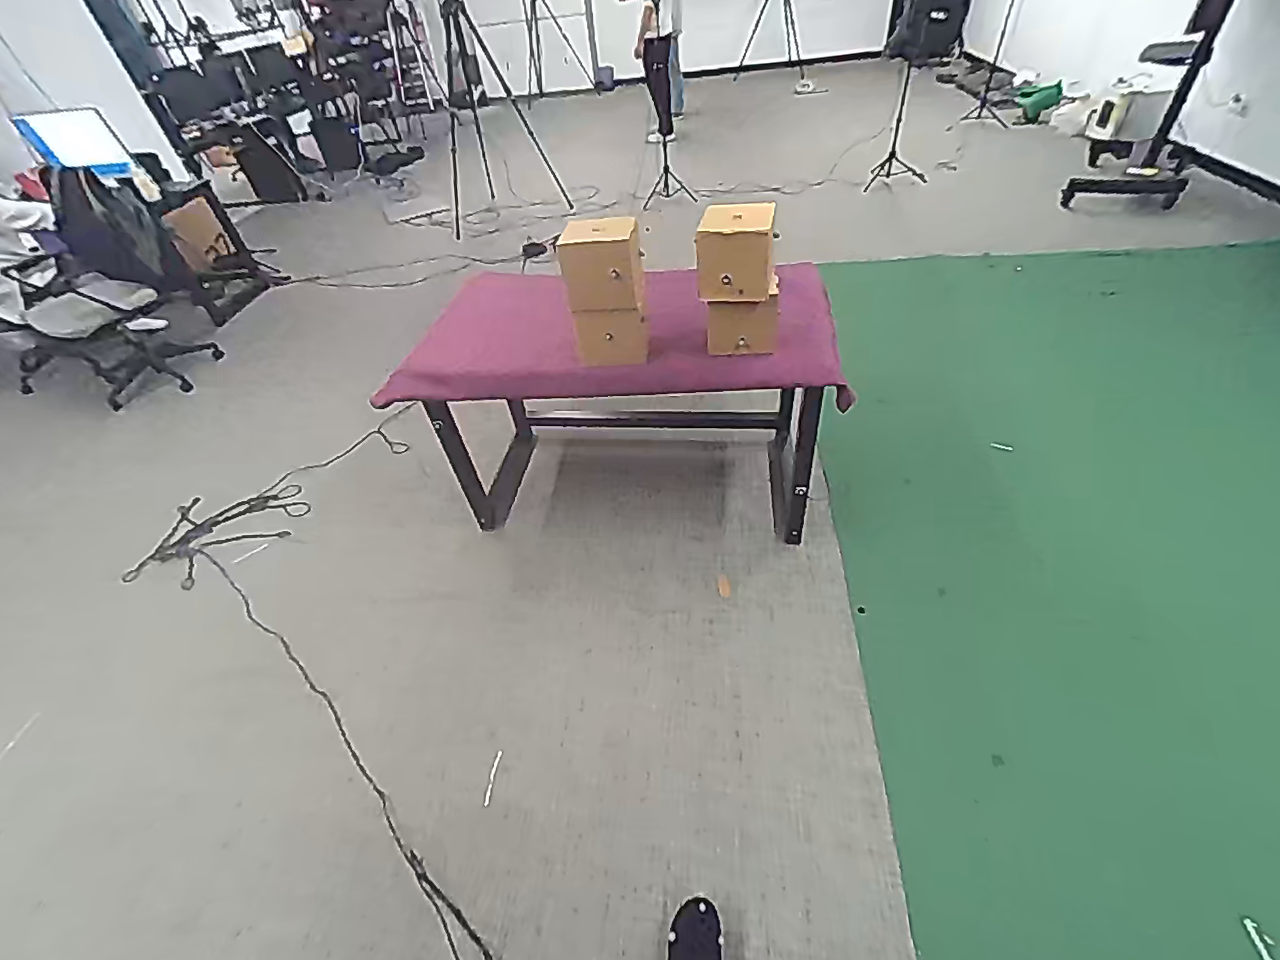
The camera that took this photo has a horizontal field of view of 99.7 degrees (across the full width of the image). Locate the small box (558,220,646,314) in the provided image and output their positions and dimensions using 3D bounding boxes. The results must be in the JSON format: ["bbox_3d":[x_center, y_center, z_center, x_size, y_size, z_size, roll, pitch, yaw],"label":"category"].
[{"bbox_3d":[-0.085,-0.528,1.350,0.179,0.176,0.168,0,42,10],"label":"small box"}]

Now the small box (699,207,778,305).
[{"bbox_3d":[0.240,-0.545,1.315,0.168,0.176,0.179,5,45,16],"label":"small box"}]

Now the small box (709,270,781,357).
[{"bbox_3d":[0.275,-0.439,1.437,0.179,0.176,0.168,0,42,9],"label":"small box"}]
